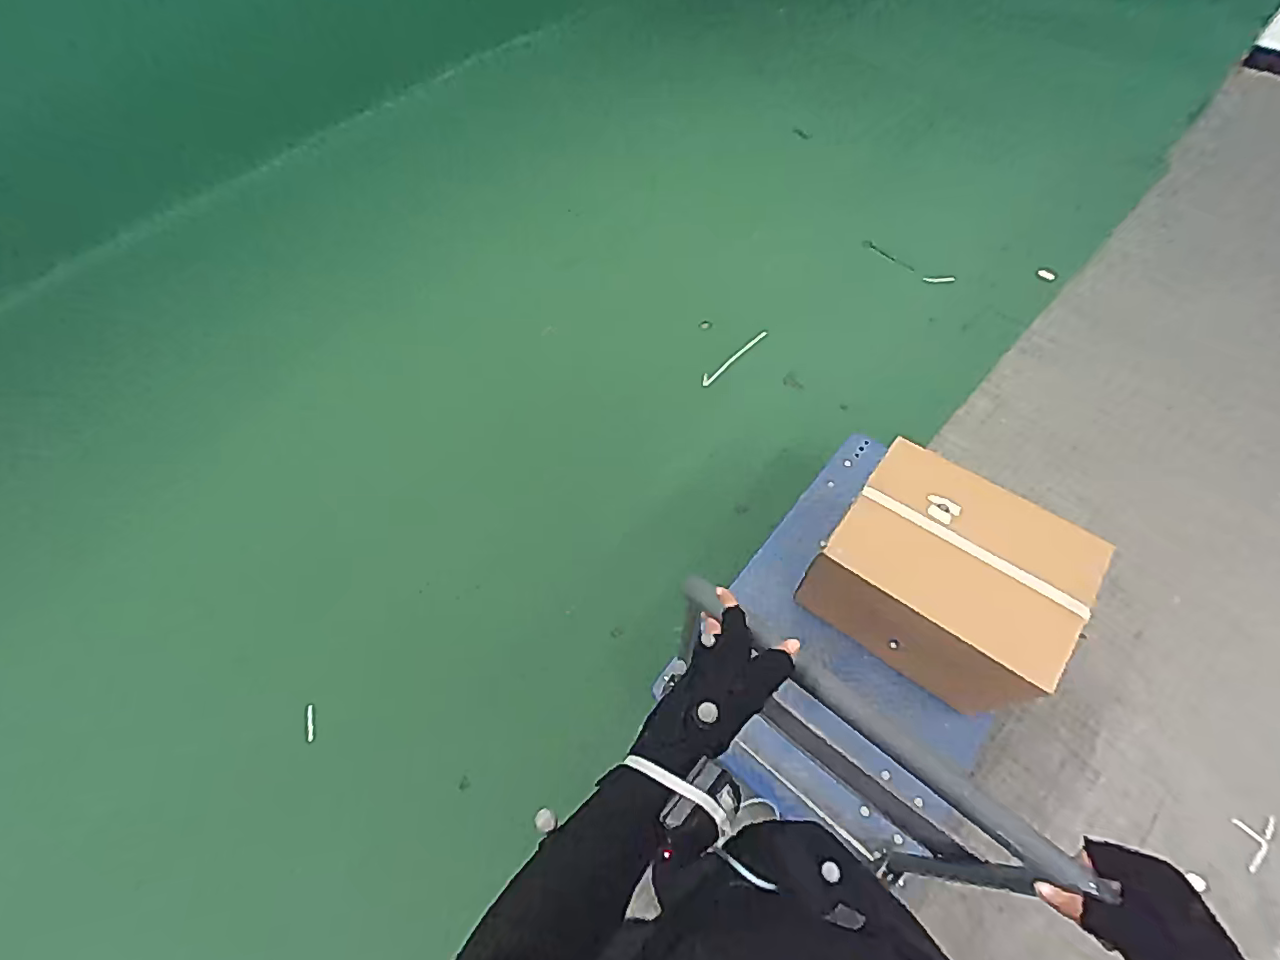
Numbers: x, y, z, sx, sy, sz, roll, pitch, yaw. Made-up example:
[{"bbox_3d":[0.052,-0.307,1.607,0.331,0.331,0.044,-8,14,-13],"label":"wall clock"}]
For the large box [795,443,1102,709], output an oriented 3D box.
[{"bbox_3d":[0.590,0.201,1.107,0.408,0.320,0.320,33,68,22],"label":"large box"}]
